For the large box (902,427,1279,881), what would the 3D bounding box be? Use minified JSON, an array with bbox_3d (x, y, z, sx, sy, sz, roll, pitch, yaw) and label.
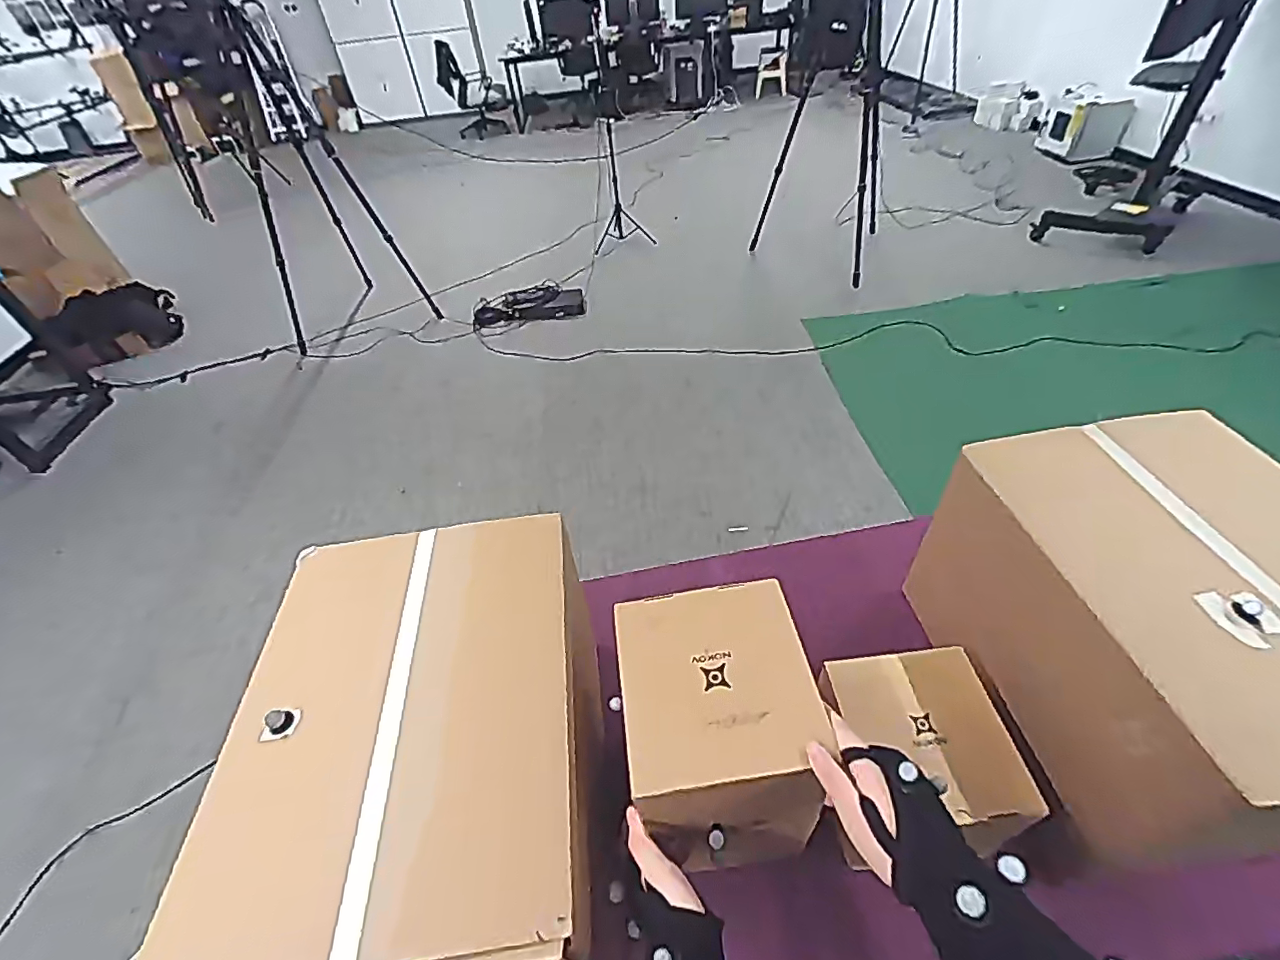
[{"bbox_3d":[0.585,0.191,0.647,0.320,0.320,0.408,-8,45,-1],"label":"large box"}]
